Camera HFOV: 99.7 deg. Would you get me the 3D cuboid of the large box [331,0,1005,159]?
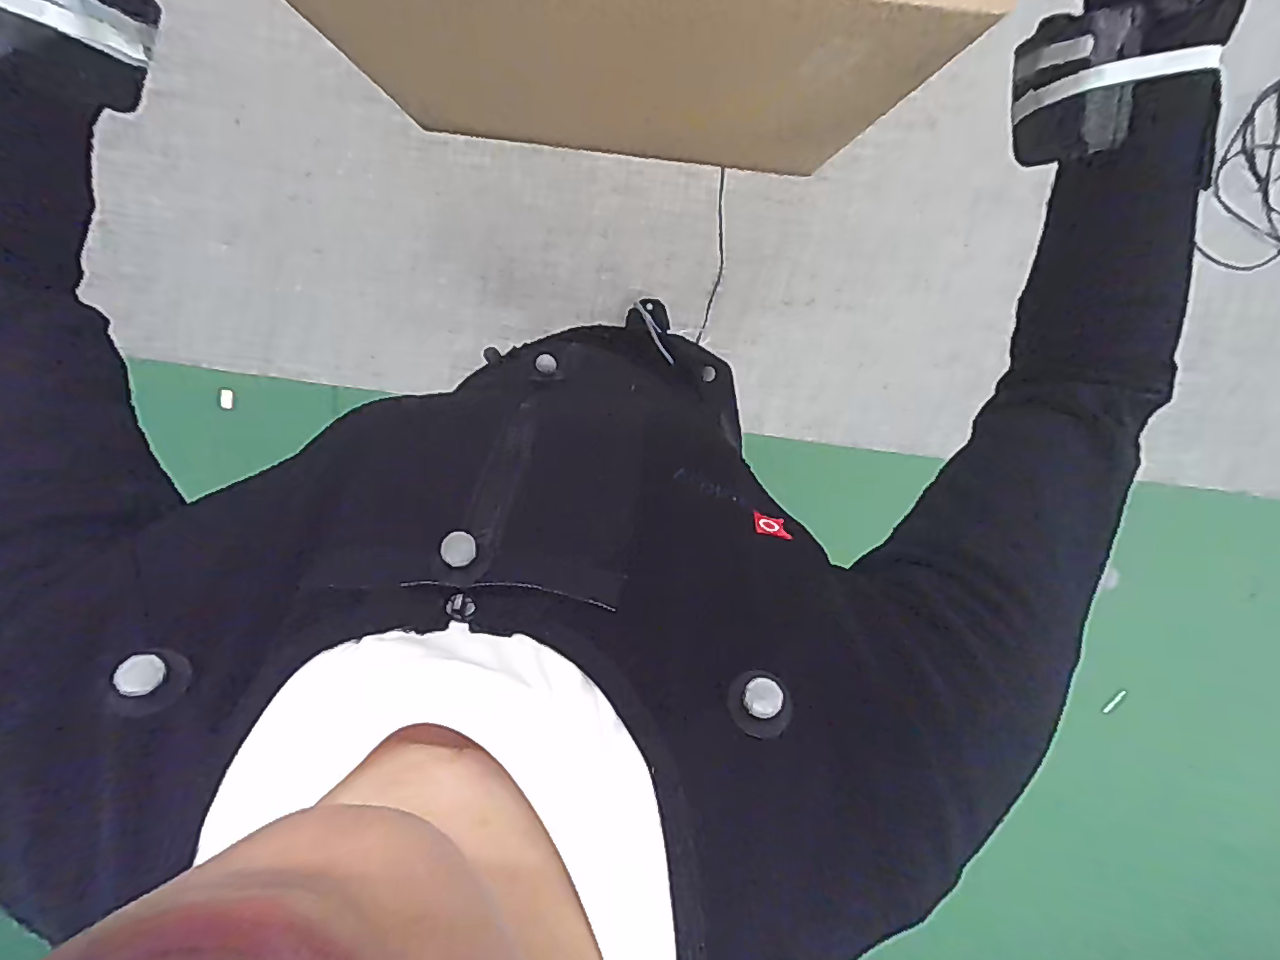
[{"bbox_3d":[0.006,-0.450,0.372,0.408,0.320,0.320,4,107,-4],"label":"large box"}]
